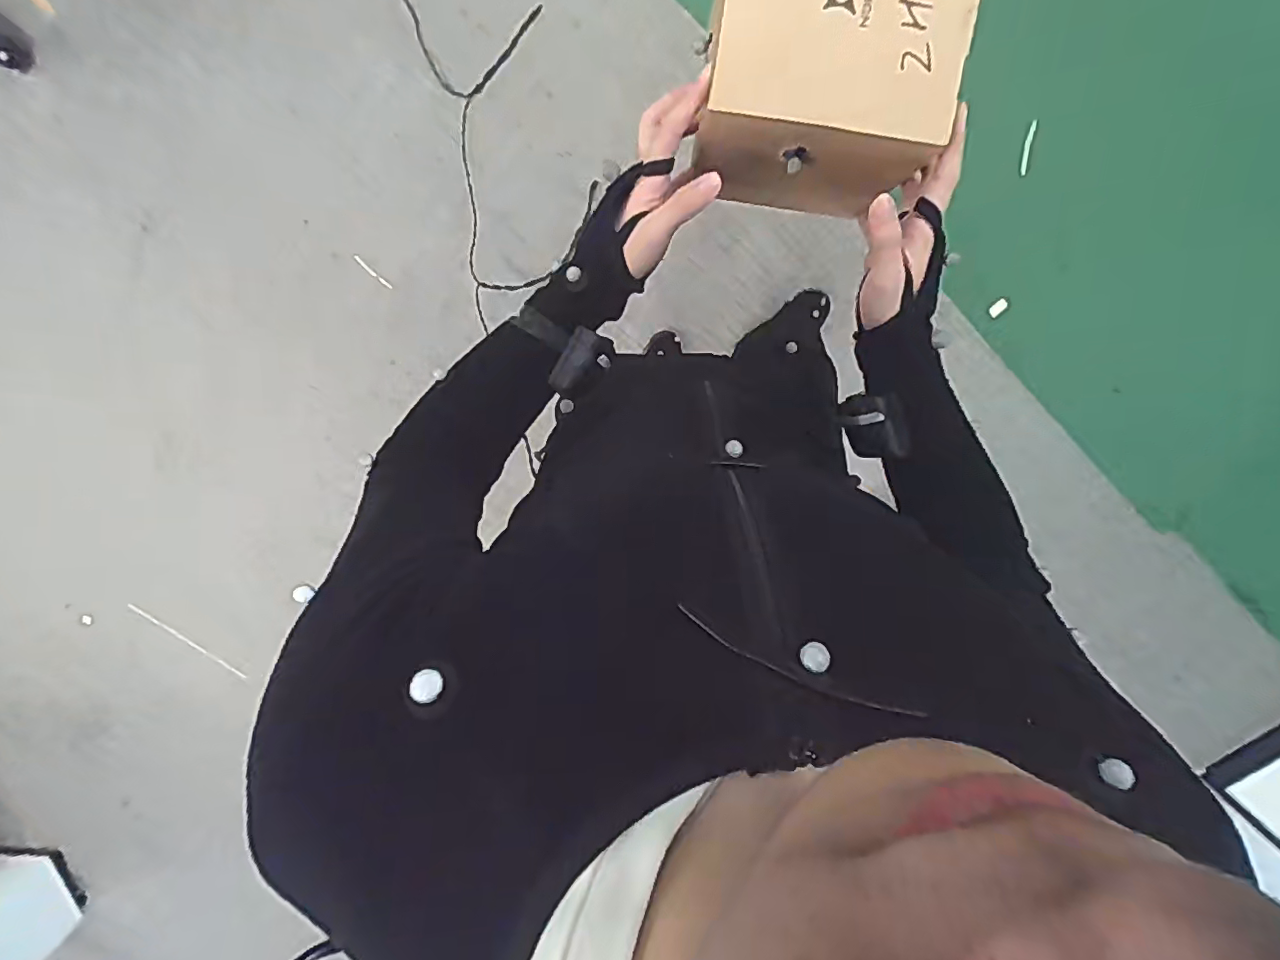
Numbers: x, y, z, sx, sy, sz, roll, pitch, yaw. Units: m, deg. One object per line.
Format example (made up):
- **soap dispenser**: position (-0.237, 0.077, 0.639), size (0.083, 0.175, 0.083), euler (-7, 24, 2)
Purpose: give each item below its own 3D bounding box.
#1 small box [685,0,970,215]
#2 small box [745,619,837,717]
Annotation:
- **small box**: position (0.136, -0.337, 0.445), size (0.179, 0.176, 0.168), euler (7, 99, -2)
- **small box**: position (0.423, 0.525, 1.547), size (0.179, 0.176, 0.168), euler (39, 106, -10)
